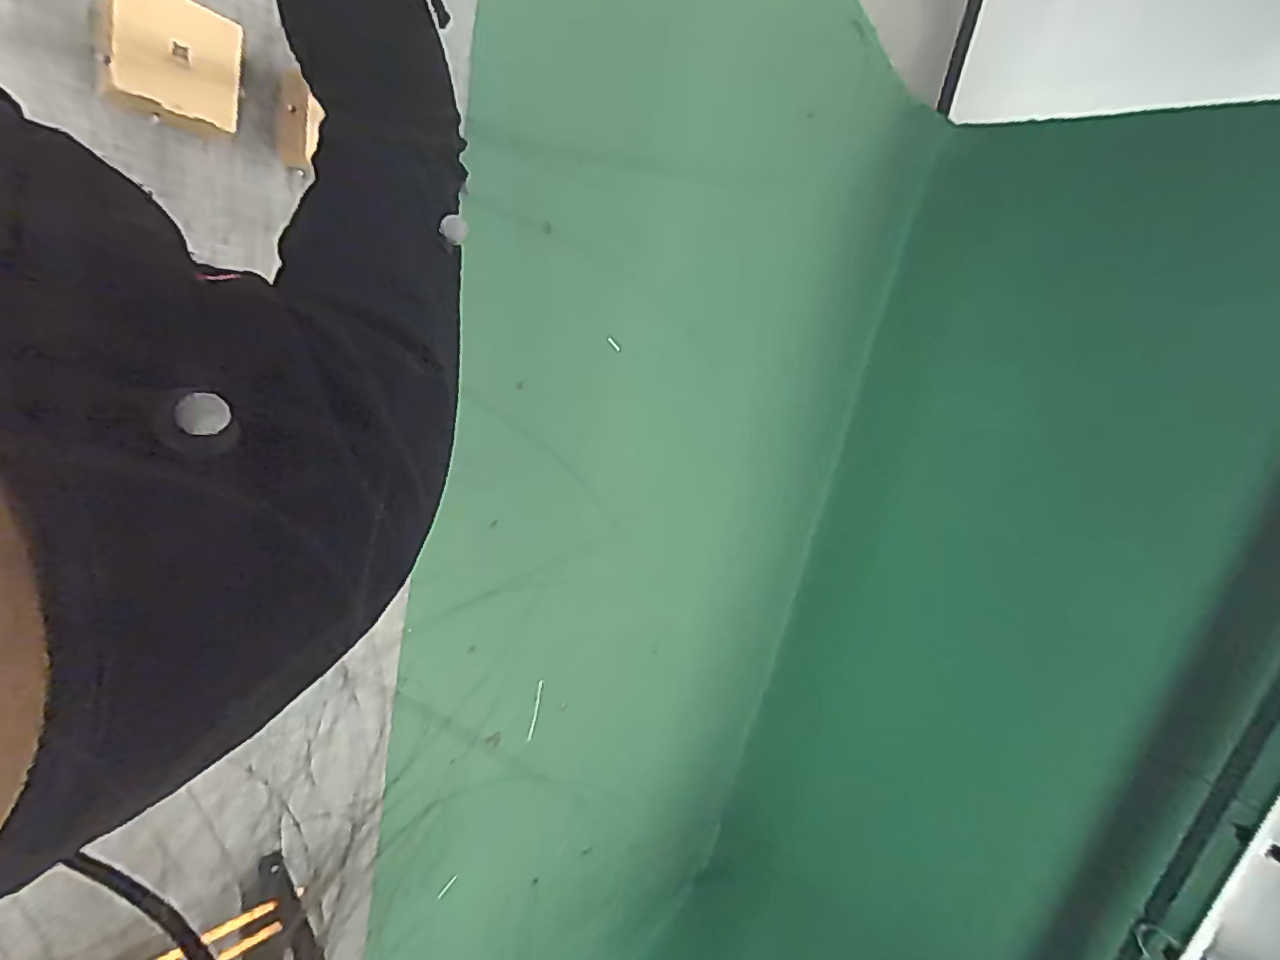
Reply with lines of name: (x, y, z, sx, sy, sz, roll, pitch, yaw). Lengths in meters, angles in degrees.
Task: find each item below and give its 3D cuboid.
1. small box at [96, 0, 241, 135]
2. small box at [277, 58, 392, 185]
small box: (-0.827, -0.736, 0.946, 0.168, 0.176, 0.179, -2, 110, -50)
small box: (-0.650, -0.746, 1.148, 0.168, 0.176, 0.179, -6, 113, -49)
